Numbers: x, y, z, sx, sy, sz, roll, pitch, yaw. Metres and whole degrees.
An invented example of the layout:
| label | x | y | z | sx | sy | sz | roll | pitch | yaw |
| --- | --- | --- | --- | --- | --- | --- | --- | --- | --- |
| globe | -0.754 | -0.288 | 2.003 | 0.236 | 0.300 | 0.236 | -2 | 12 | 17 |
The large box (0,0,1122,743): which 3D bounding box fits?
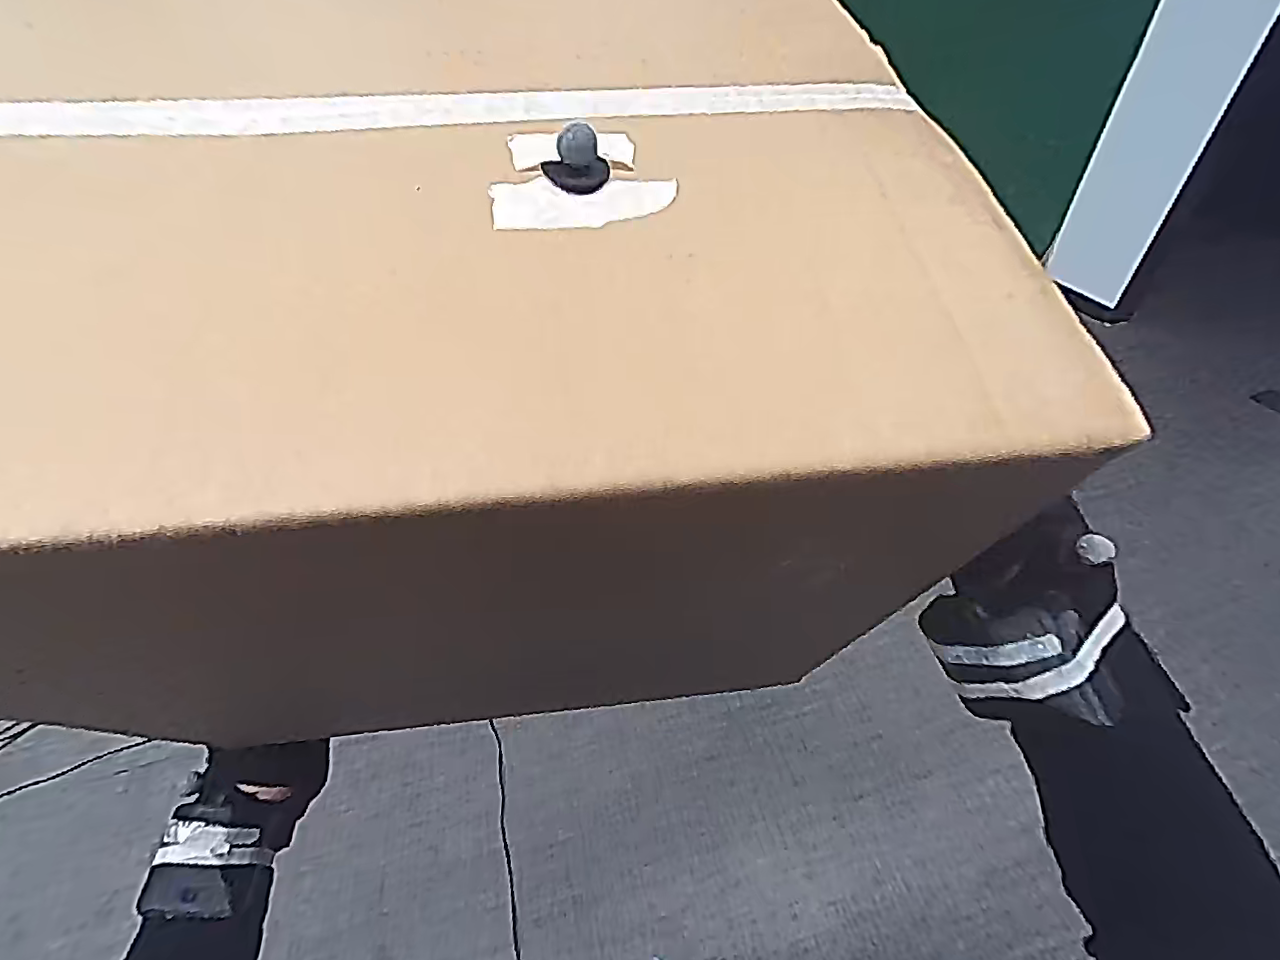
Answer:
| label | x | y | z | sx | sy | sz | roll | pitch | yaw |
| --- | --- | --- | --- | --- | --- | --- | --- | --- | --- |
| large box | -0.084 | -0.046 | 0.333 | 0.408 | 0.320 | 0.320 | -4 | 61 | -6 |
